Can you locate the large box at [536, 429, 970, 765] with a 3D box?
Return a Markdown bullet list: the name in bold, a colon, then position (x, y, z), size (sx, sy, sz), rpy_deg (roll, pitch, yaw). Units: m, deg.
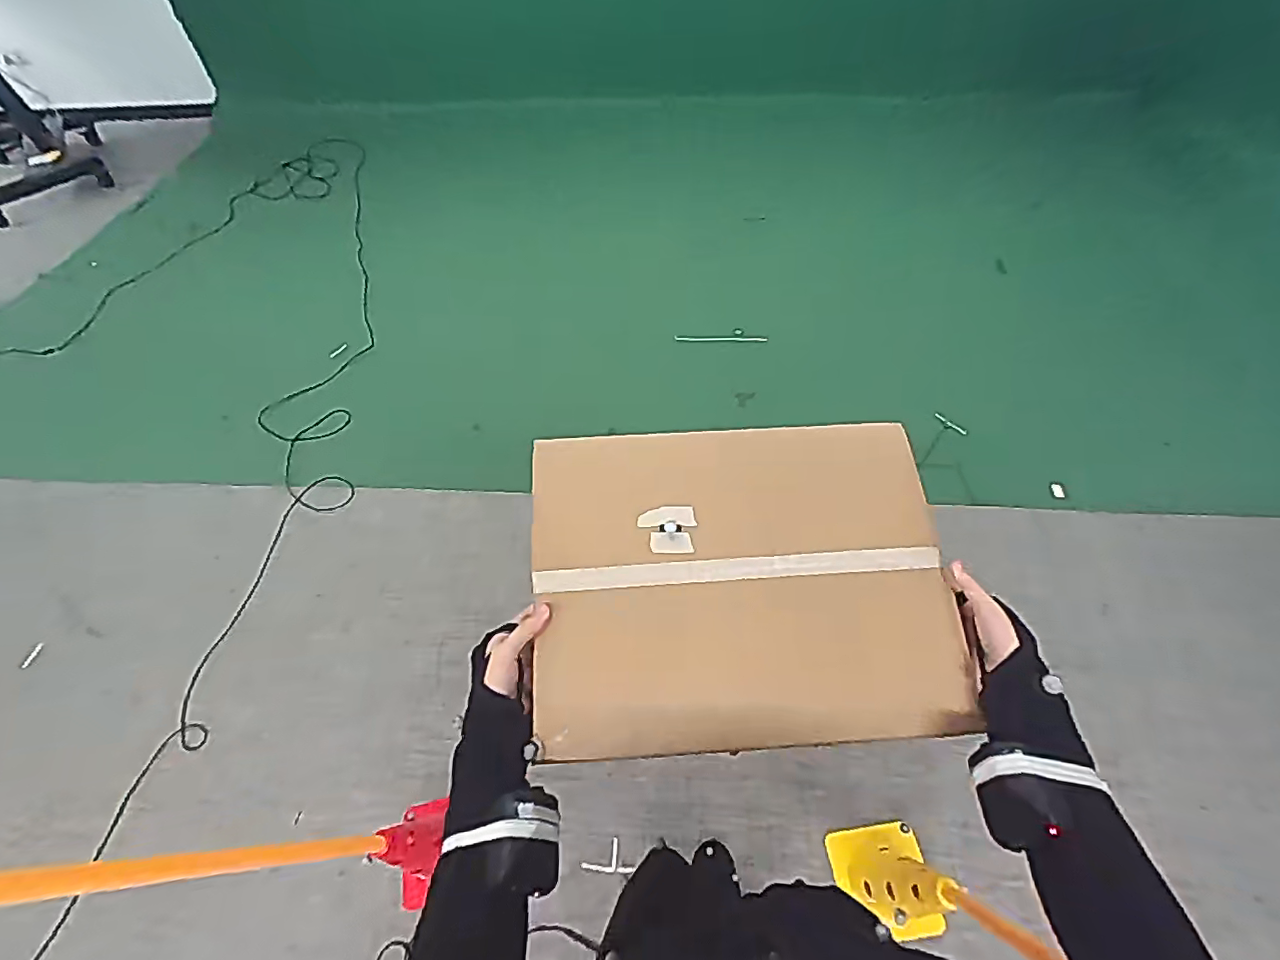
- **large box**: position (0.098, 0.155, 0.683), size (0.408, 0.320, 0.320), rpy_deg (-4, 66, -1)
